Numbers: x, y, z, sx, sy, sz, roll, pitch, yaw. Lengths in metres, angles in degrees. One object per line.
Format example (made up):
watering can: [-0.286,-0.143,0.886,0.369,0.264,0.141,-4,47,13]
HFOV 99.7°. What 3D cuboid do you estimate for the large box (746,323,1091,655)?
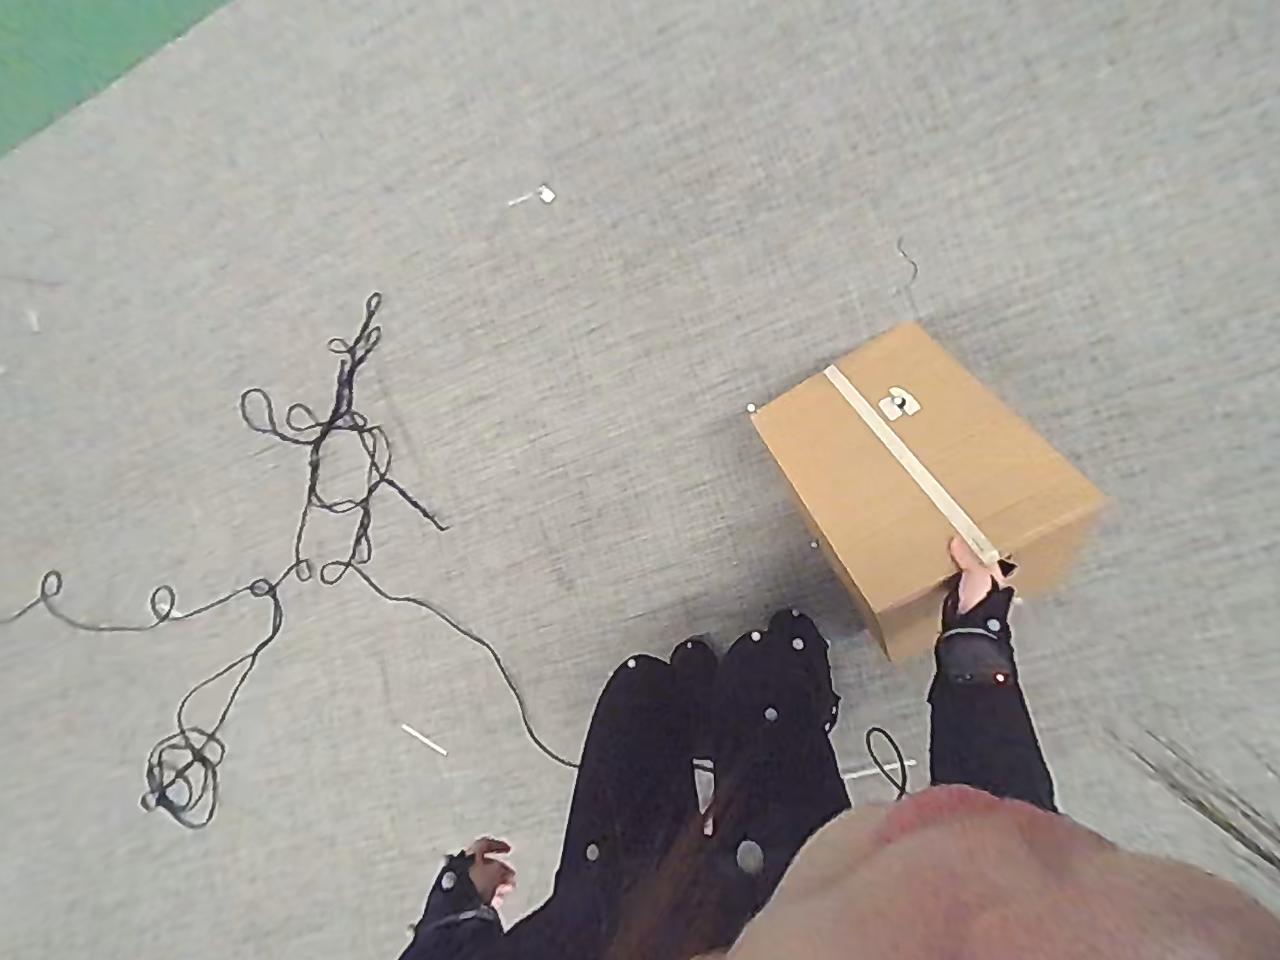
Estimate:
large box: [0.443,0.020,0.926,0.320,0.320,0.408,-30,49,10]
